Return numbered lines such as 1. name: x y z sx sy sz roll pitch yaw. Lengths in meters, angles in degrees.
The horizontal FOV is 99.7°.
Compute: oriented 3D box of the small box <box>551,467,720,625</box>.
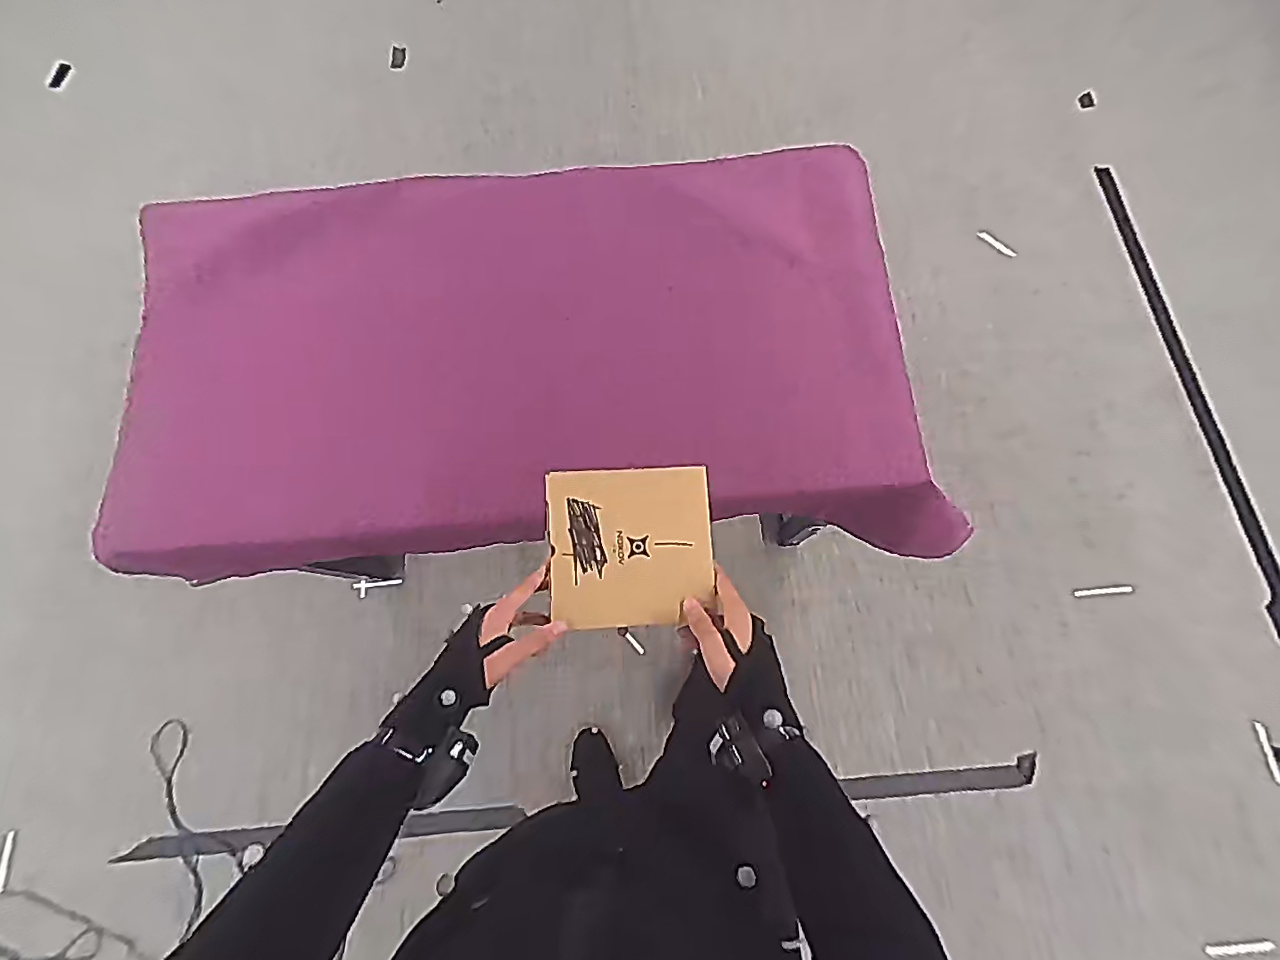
1. small box: -0.008 0.083 0.647 0.179 0.176 0.168 -2 80 -2
